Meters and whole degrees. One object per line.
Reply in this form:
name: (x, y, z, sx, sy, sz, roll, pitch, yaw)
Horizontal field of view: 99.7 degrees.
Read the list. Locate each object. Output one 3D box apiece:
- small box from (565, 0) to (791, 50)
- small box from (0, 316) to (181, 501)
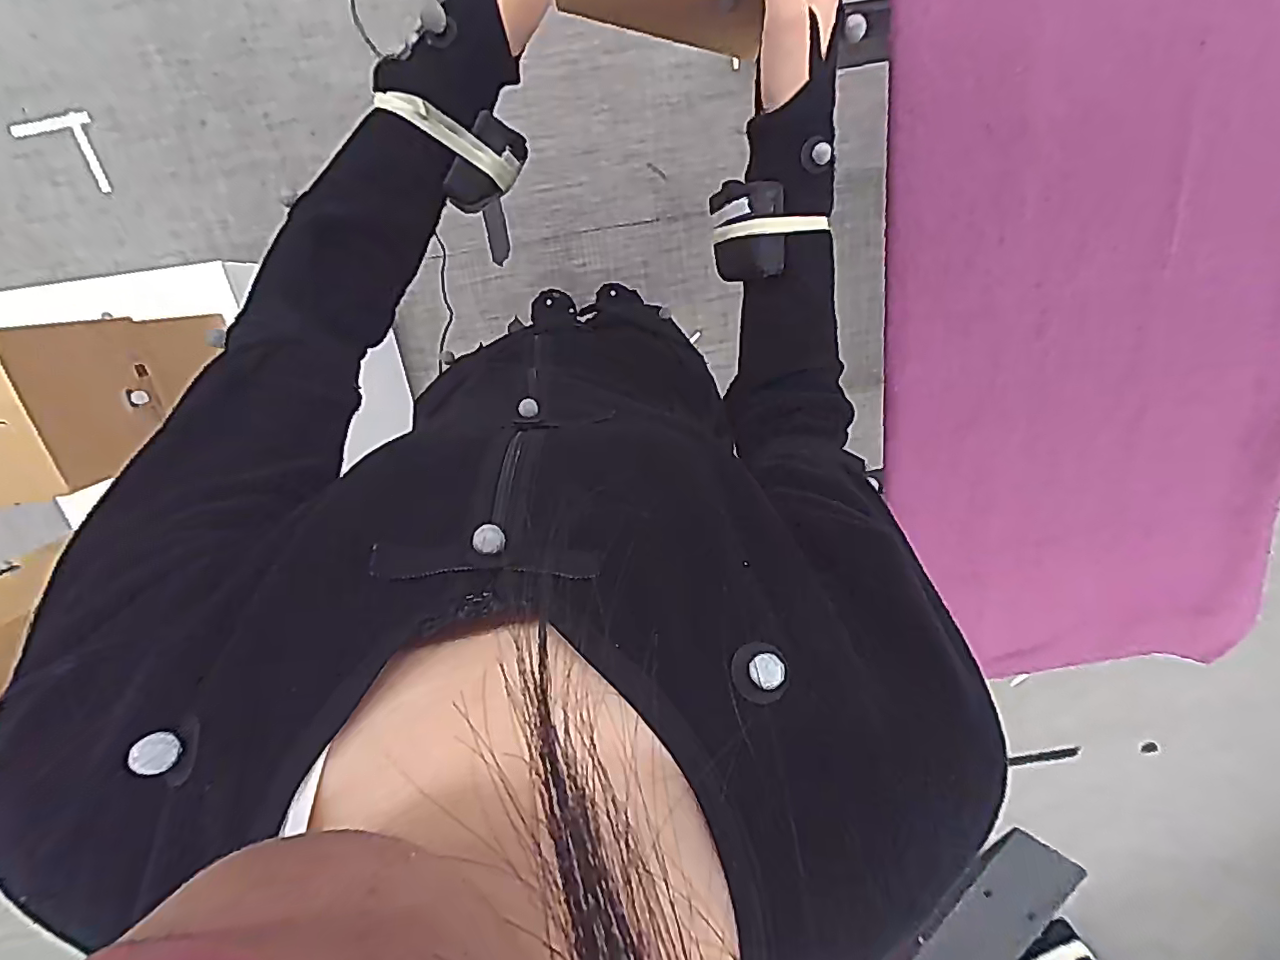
small box: (0.036, -0.419, 0.352, 0.179, 0.176, 0.168, 11, 111, -5)
small box: (-0.665, -0.080, 0.582, 0.179, 0.176, 0.168, -6, 111, -2)
